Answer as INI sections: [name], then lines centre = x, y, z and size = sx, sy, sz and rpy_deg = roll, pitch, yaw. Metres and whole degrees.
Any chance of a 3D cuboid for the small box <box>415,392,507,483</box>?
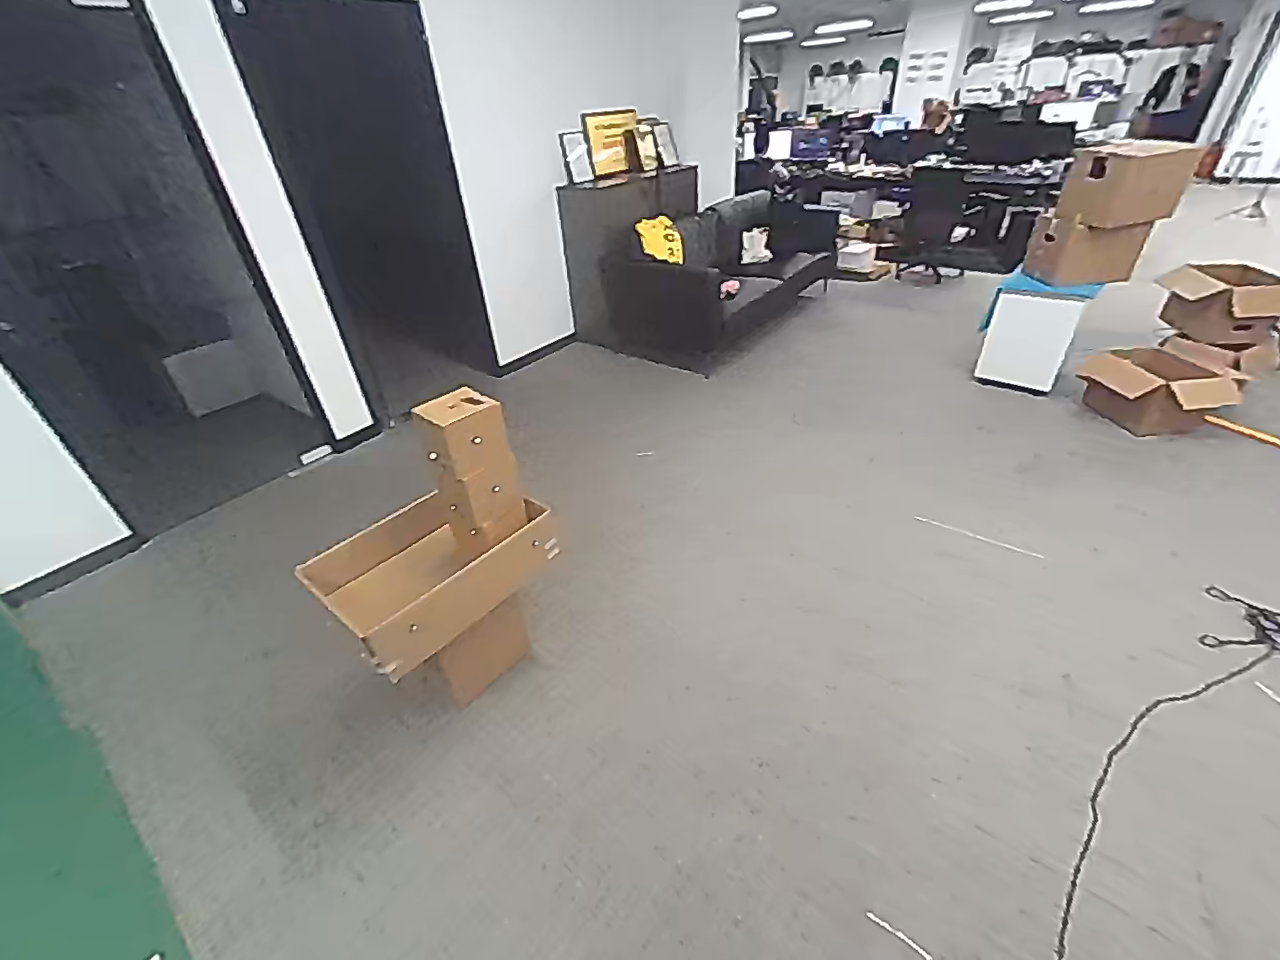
[small box]
centre = -0.489, -0.120, 1.504
size = 0.168, 0.176, 0.179
rpy_deg = 25, 45, 36
